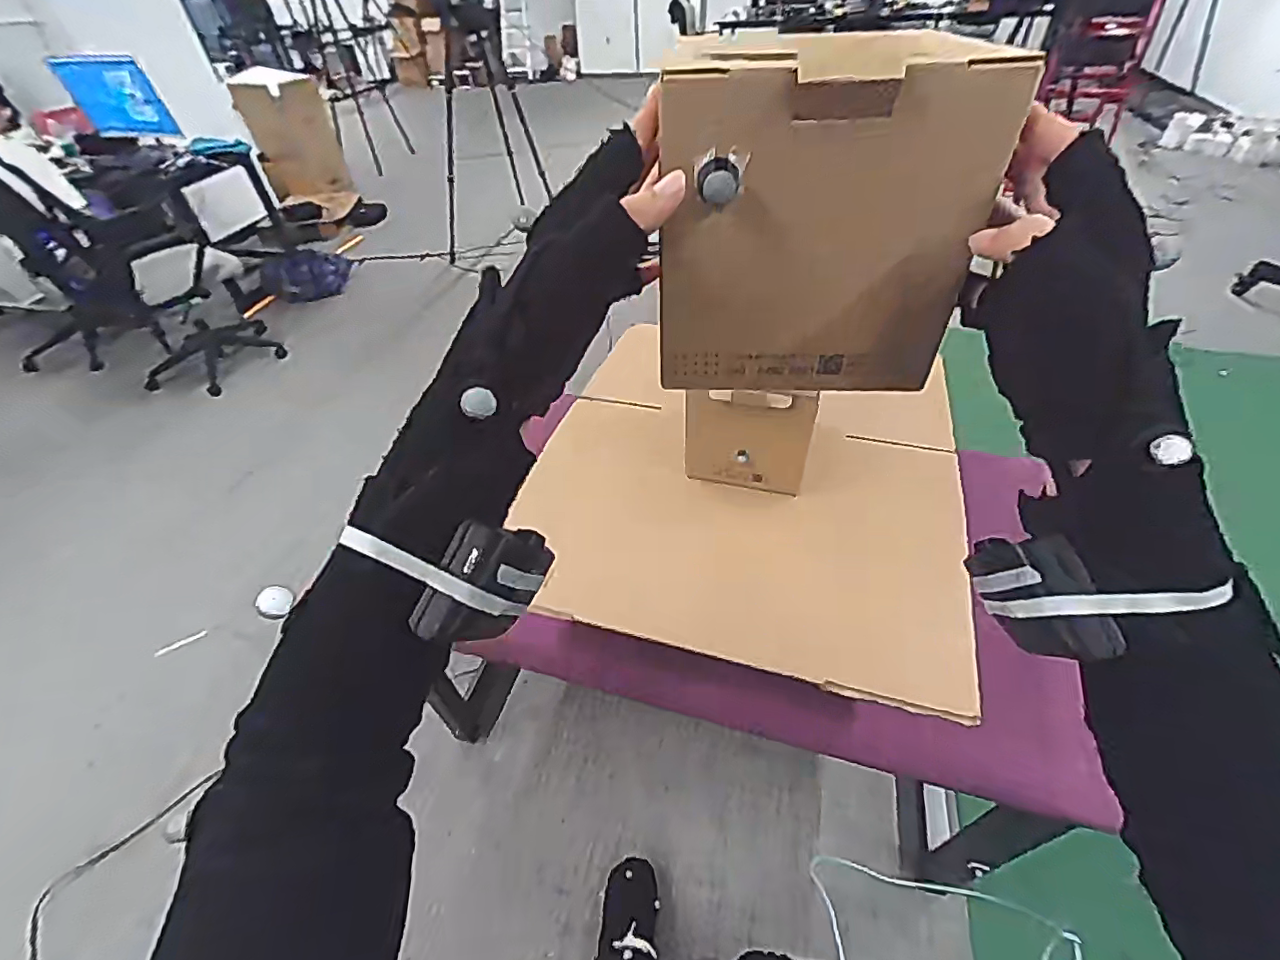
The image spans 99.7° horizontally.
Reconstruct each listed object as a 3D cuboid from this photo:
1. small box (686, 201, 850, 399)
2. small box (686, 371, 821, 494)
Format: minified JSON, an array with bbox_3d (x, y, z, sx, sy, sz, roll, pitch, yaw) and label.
[{"bbox_3d":[0.154,-0.226,0.669,0.168,0.176,0.179,10,45,15],"label":"small box"},{"bbox_3d":[0.164,-0.107,0.781,0.168,0.176,0.179,10,45,15],"label":"small box"}]
